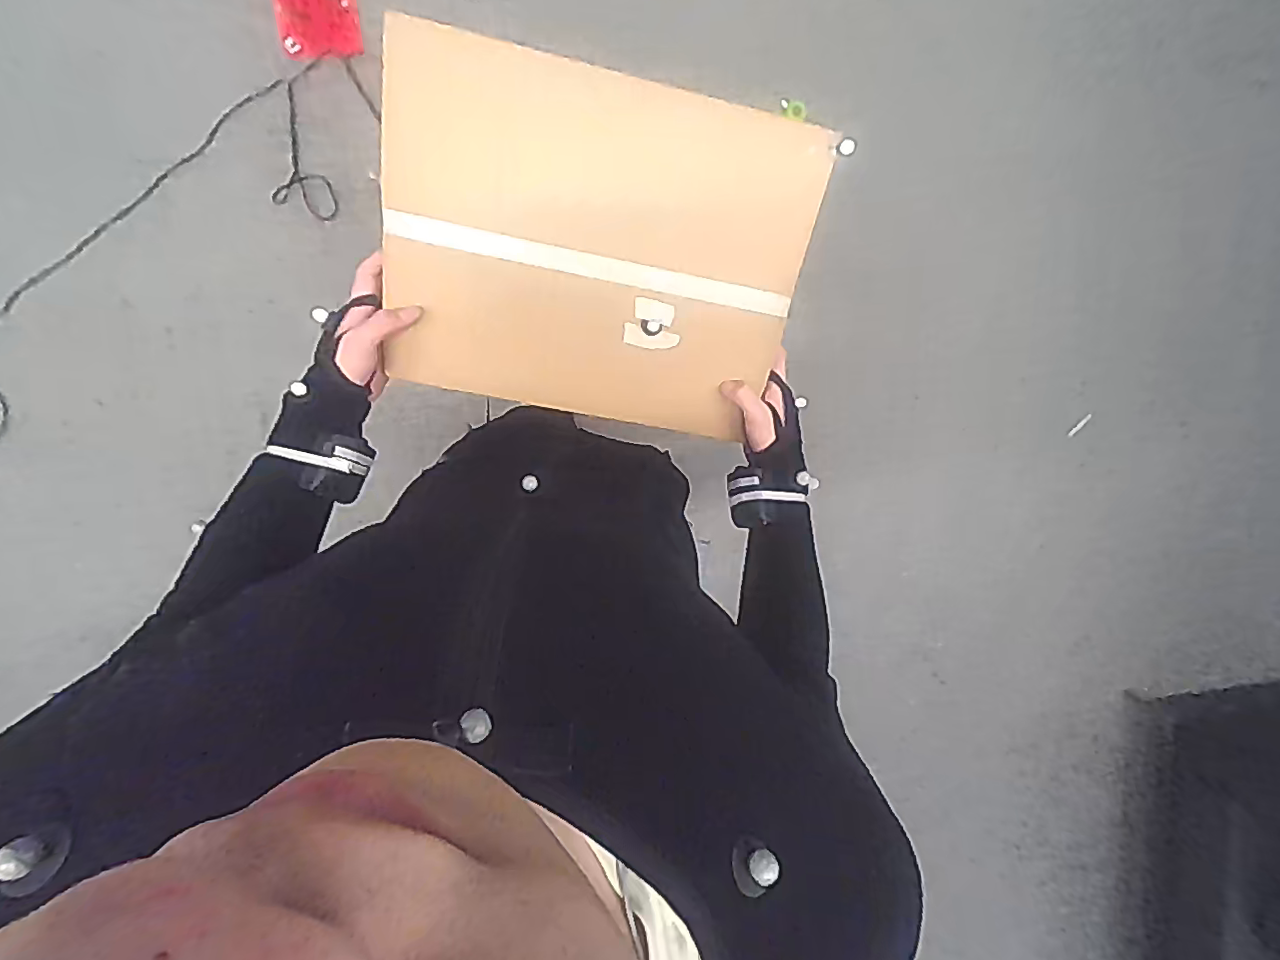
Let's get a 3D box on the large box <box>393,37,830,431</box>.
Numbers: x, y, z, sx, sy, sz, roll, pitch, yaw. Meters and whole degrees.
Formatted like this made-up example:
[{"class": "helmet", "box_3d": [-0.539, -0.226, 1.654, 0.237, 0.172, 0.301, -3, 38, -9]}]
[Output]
[{"class": "large box", "box_3d": [-0.051, -0.281, 0.678, 0.408, 0.320, 0.320, 8, 116, -8]}]
